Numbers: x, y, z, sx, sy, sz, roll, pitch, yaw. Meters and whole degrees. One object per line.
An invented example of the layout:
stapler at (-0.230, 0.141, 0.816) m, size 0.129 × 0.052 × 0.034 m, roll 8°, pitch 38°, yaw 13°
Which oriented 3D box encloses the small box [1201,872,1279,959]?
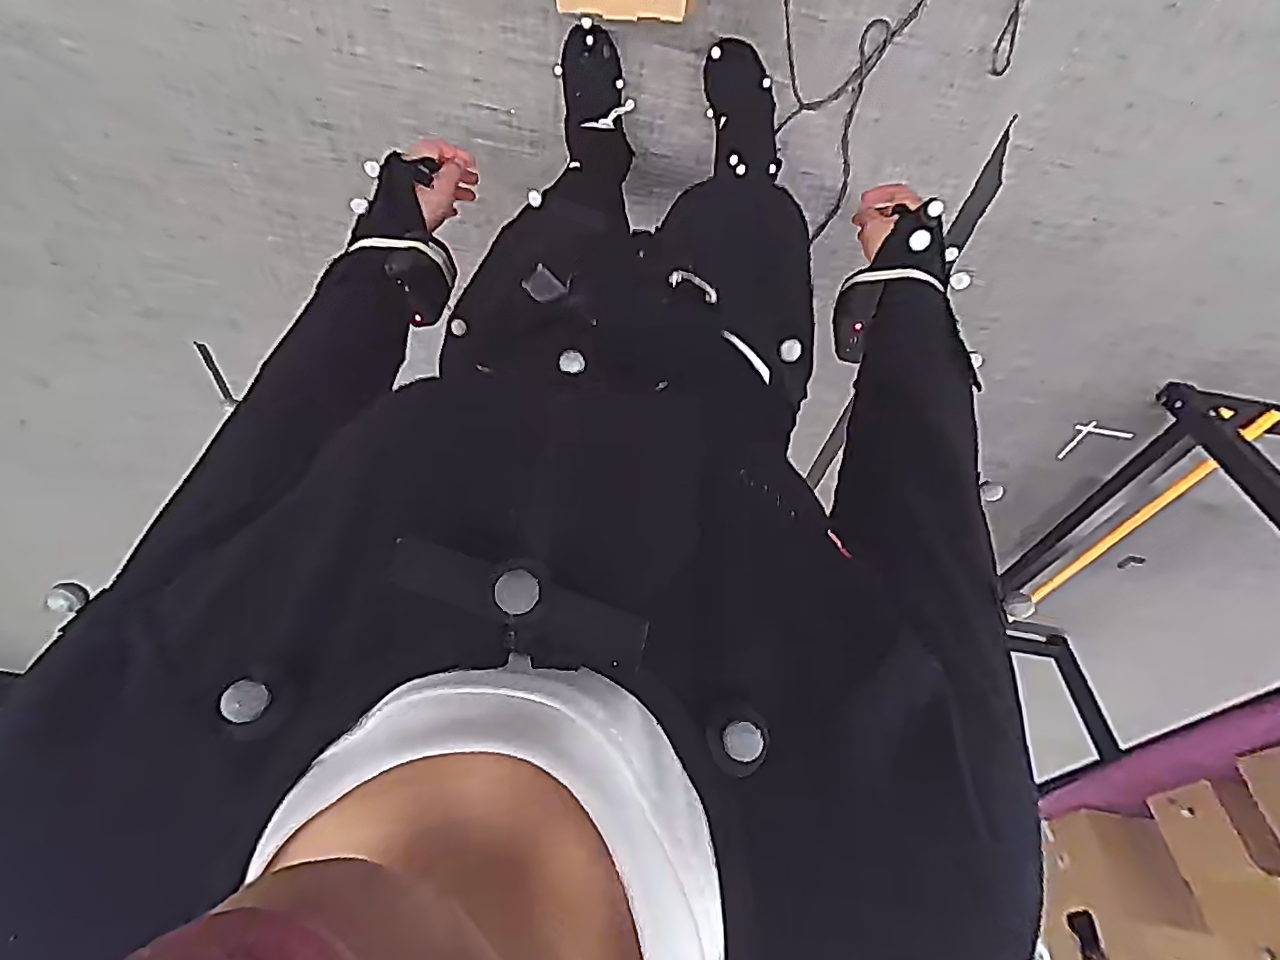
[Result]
small box at (1.292, 0.905, 1.075) m, size 0.168 × 0.176 × 0.179 m, roll 11°, pitch 135°, yaw -3°

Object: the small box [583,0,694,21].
small box at (0.013, -0.814, 0.798) m, size 0.168 × 0.176 × 0.179 m, roll 9°, pitch 136°, yaw -1°

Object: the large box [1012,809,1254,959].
large box at (1.288, 1.073, 1.386) m, size 0.408 × 0.320 × 0.320 m, roll 9°, pitch 137°, yaw -2°
